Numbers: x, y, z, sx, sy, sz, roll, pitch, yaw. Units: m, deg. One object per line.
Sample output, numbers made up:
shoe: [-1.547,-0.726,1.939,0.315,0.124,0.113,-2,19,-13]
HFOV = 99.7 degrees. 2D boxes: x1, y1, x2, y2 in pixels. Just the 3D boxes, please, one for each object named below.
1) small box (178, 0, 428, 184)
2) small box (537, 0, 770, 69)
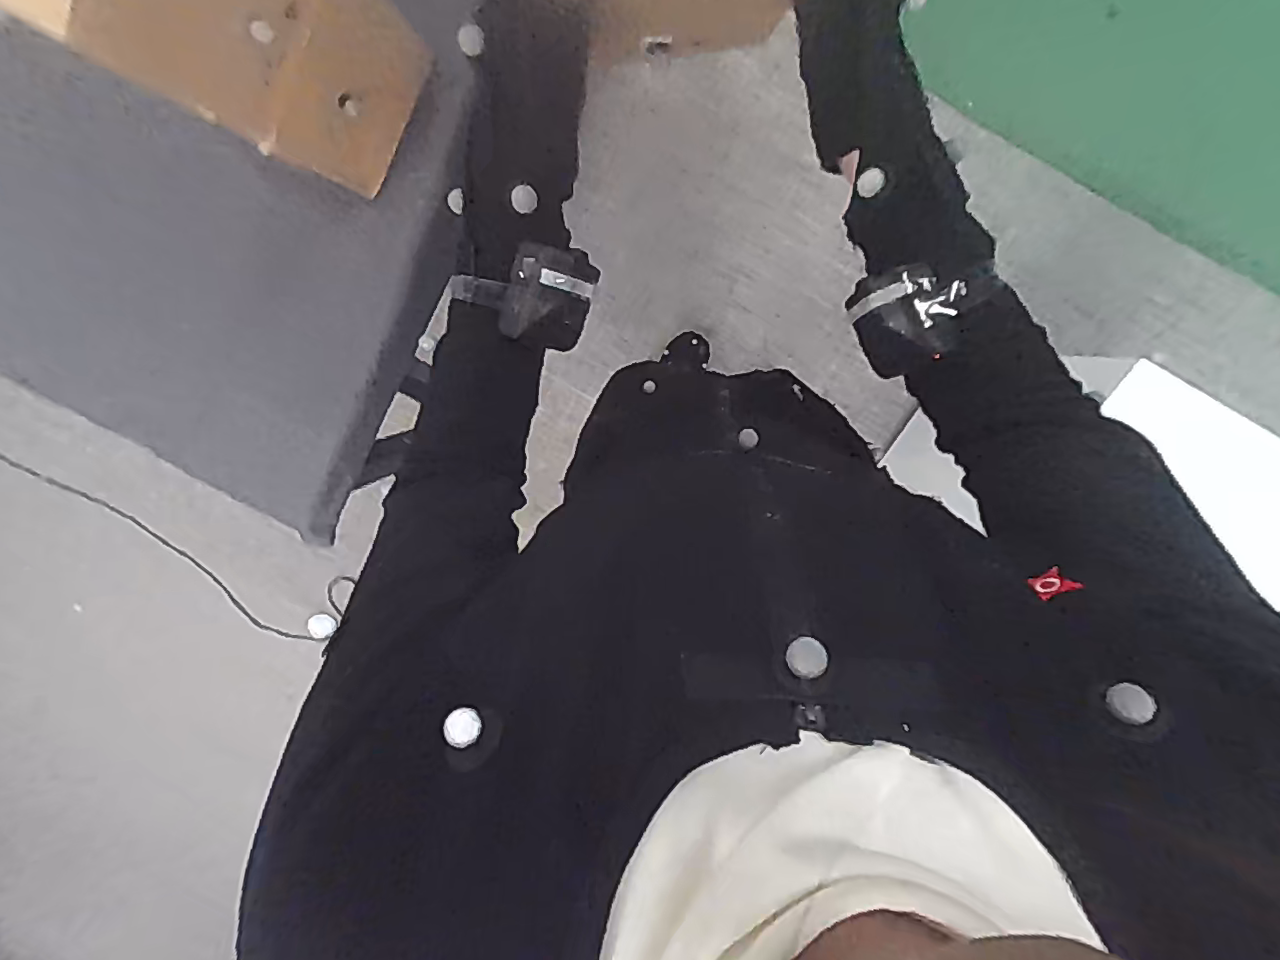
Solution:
small box: [-0.349,-0.438,0.548,0.168,0.176,0.179,32,106,-1]
small box: [0.002,-0.393,0.329,0.168,0.176,0.179,-10,112,1]
